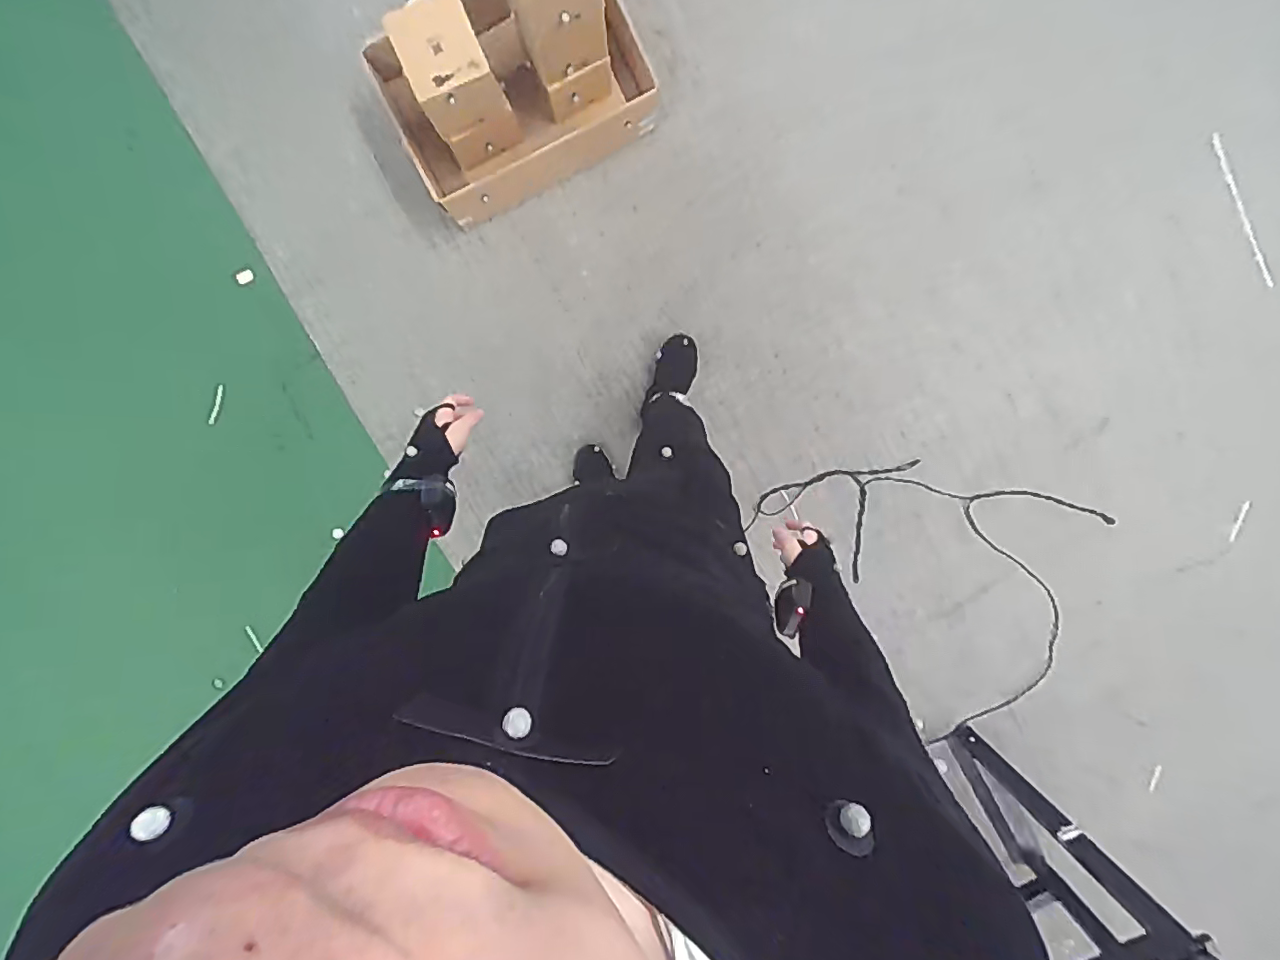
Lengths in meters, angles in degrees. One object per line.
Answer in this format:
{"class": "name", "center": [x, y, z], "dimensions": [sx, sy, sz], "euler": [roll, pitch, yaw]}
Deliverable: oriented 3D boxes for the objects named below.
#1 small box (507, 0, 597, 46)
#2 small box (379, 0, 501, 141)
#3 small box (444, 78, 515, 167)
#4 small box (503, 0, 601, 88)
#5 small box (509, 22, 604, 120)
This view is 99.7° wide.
{"class": "small box", "center": [-0.192, -0.987, 1.019], "dimensions": [0.168, 0.176, 0.179], "euler": [-26, 99, 4]}
{"class": "small box", "center": [-0.428, -0.896, 1.184], "dimensions": [0.168, 0.176, 0.179], "euler": [-23, 98, 2]}
{"class": "small box", "center": [-0.430, -0.919, 1.348], "dimensions": [0.168, 0.176, 0.179], "euler": [-29, 98, 0]}
{"class": "small box", "center": [-0.196, -1.017, 1.180], "dimensions": [0.168, 0.176, 0.179], "euler": [-25, 99, 3]}
{"class": "small box", "center": [-0.197, -1.038, 1.342], "dimensions": [0.168, 0.176, 0.179], "euler": [-27, 98, 2]}
